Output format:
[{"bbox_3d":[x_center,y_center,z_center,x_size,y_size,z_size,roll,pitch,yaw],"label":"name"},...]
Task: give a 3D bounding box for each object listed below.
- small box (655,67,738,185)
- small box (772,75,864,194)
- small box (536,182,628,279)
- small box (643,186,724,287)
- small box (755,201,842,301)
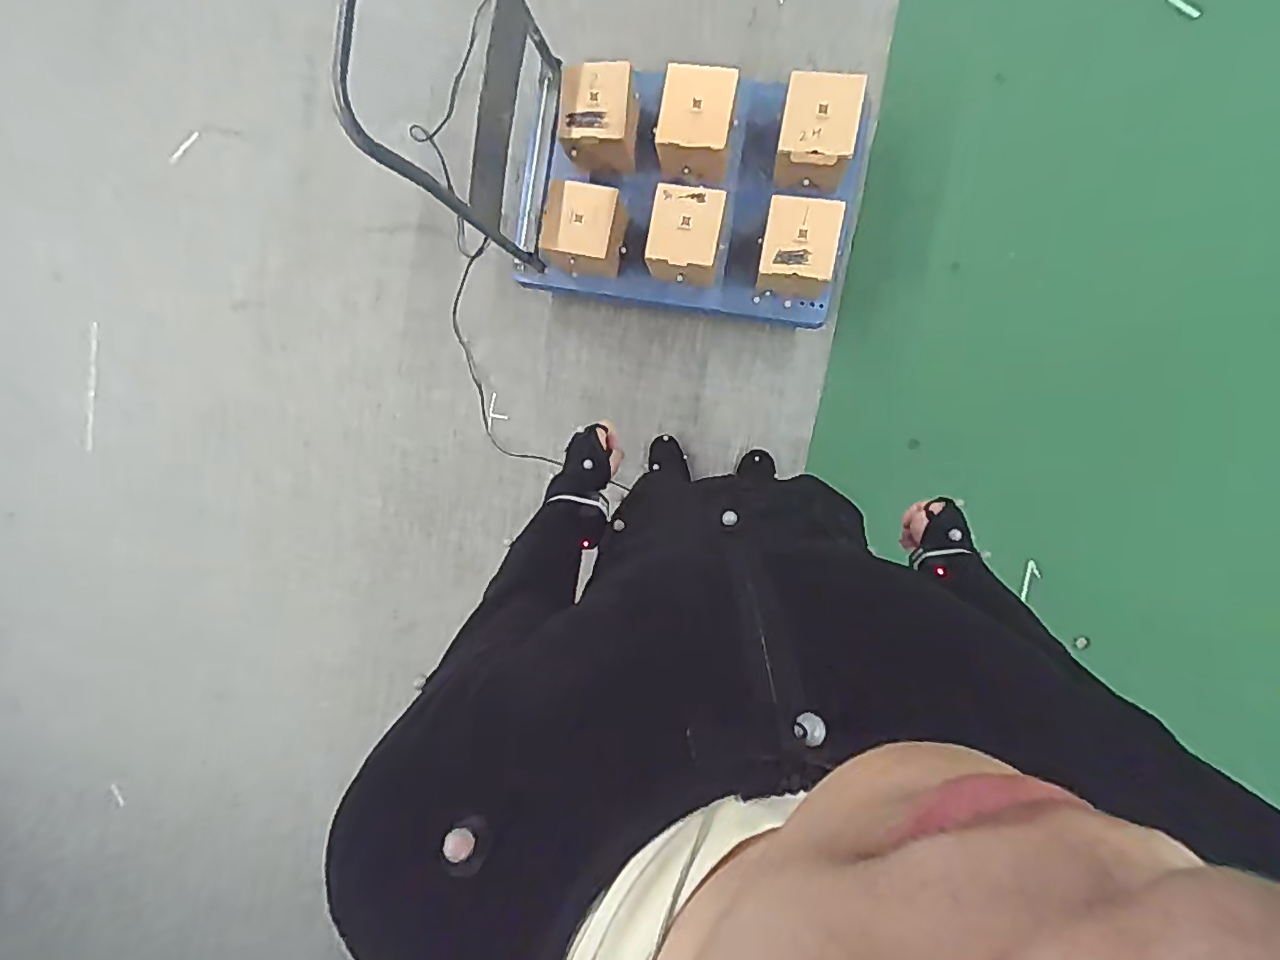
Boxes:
[{"bbox_3d":[0.139,-0.858,1.322,0.168,0.176,0.179,11,97,8],"label":"small box"},{"bbox_3d":[0.411,-0.810,1.279,0.168,0.176,0.179,10,96,9],"label":"small box"},{"bbox_3d":[-0.142,-0.629,1.381,0.179,0.176,0.168,13,96,7],"label":"small box"},{"bbox_3d":[0.114,-0.595,1.343,0.168,0.176,0.179,12,96,7],"label":"small box"},{"bbox_3d":[0.377,-0.549,1.321,0.168,0.176,0.179,10,95,8],"label":"small box"}]
